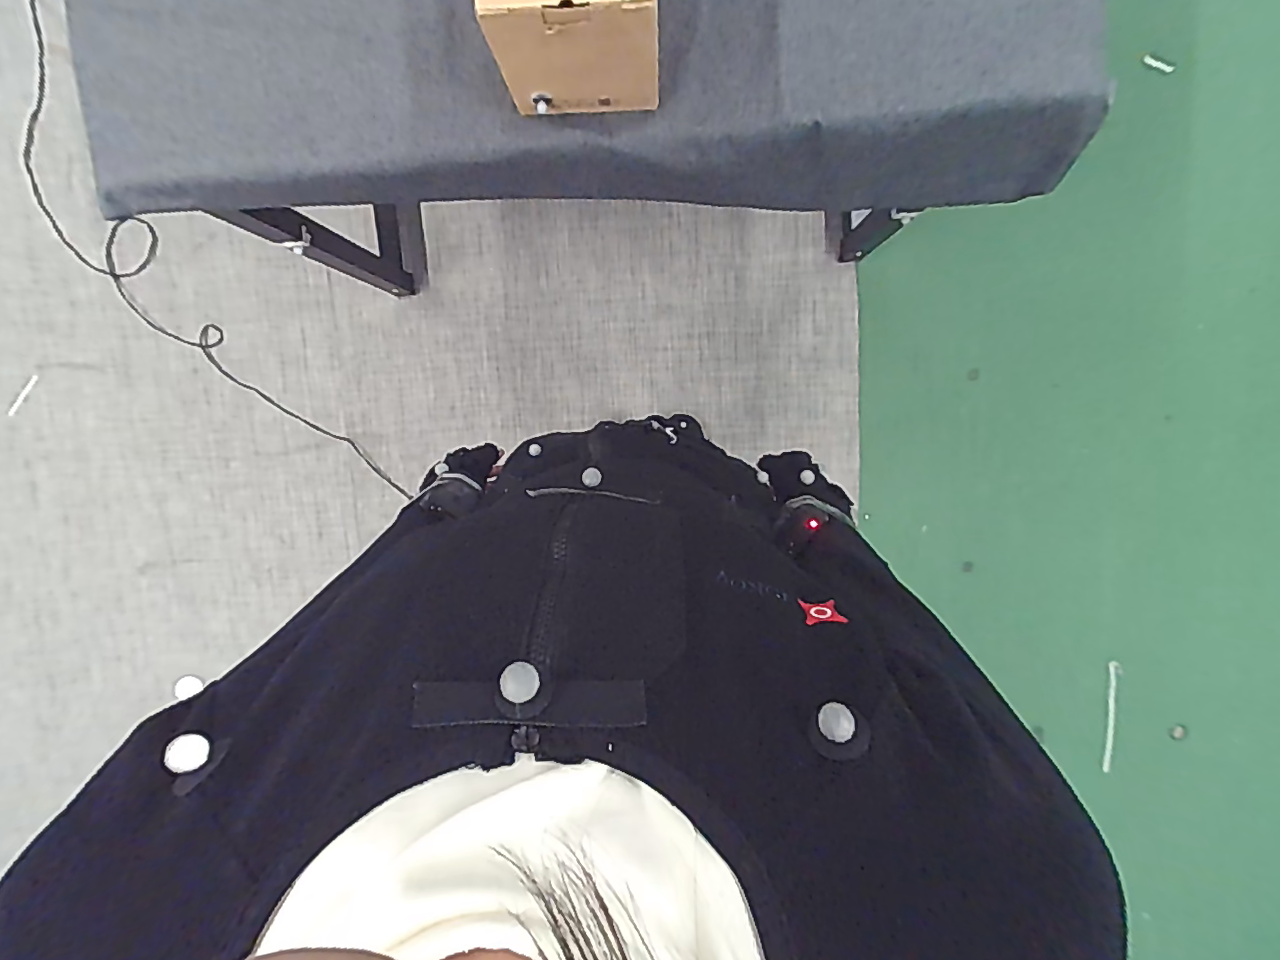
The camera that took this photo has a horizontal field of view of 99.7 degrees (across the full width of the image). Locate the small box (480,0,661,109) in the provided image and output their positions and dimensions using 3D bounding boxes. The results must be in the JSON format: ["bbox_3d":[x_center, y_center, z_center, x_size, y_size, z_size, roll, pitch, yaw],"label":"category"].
[{"bbox_3d":[-0.062,-0.519,0.562,0.168,0.176,0.179,0,95,1],"label":"small box"}]
